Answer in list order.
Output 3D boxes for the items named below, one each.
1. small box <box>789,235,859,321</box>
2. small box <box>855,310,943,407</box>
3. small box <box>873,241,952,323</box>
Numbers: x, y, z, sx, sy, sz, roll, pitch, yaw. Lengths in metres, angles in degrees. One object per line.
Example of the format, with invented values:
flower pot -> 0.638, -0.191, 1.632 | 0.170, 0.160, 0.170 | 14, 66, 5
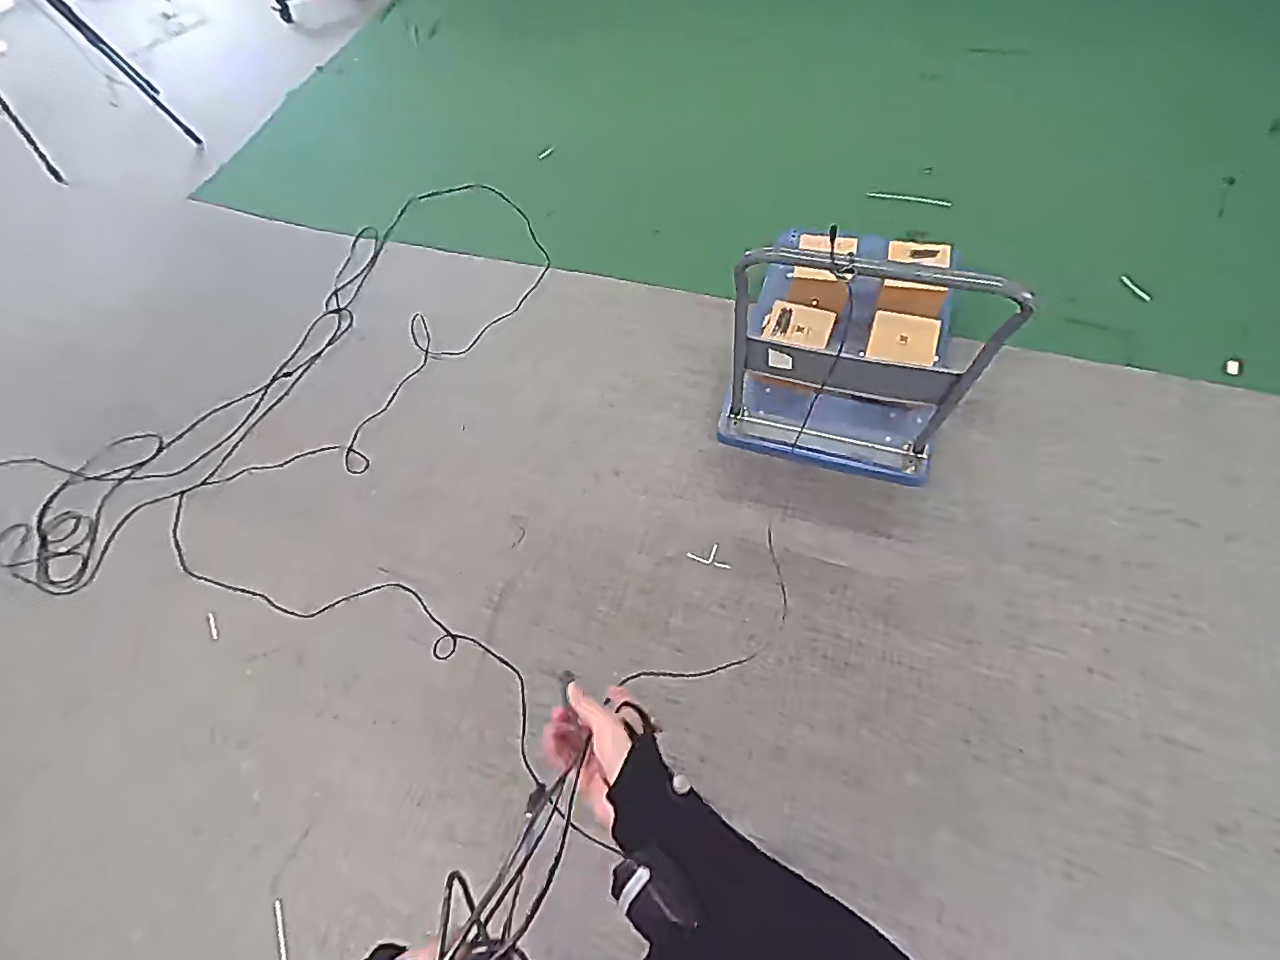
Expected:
small box -> 0.555, -0.612, 1.647 | 0.168, 0.176, 0.179 | 11, 67, 13
small box -> 0.706, -0.332, 1.488 | 0.168, 0.176, 0.179 | 15, 68, 16
small box -> 0.795, -0.567, 1.587 | 0.168, 0.176, 0.179 | 11, 67, 14
